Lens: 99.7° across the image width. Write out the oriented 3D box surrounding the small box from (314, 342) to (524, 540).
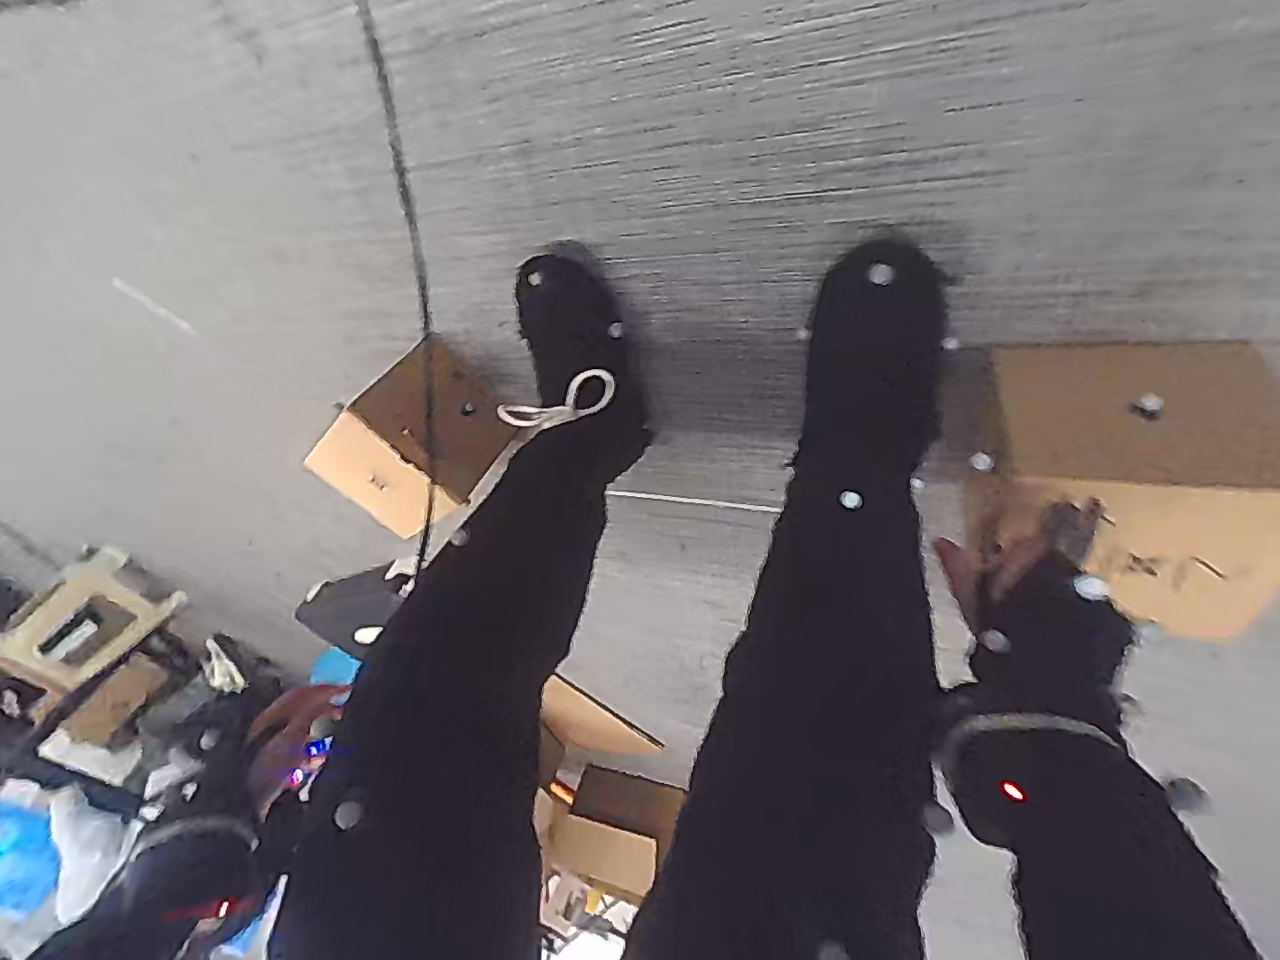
[{"bbox_3d":[-0.287,-0.050,0.727,0.179,0.176,0.168,-25,118,41],"label":"small box"}]
